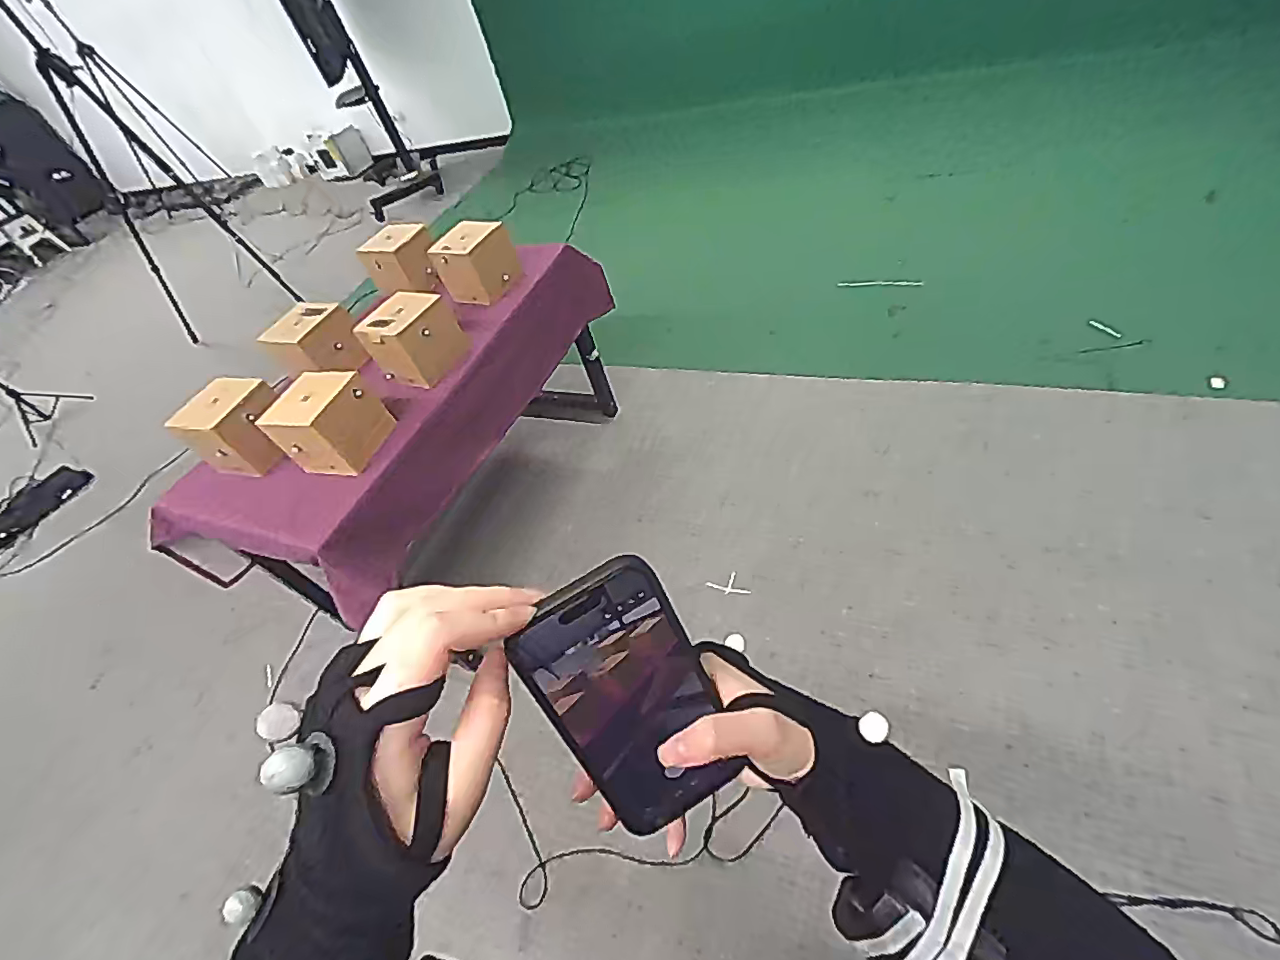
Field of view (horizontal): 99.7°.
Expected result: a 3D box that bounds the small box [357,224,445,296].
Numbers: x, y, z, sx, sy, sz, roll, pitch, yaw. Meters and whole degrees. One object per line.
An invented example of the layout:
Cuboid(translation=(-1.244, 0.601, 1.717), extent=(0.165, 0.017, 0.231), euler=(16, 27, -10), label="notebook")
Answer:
Cuboid(translation=(-0.764, -0.711, 1.758), extent=(0.179, 0.176, 0.168), euler=(12, 56, 25), label="small box")

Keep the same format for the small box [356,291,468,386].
Cuboid(translation=(-0.585, -0.368, 1.412), extent=(0.168, 0.176, 0.179), euler=(14, 55, 27), label="small box")

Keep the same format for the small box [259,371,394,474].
Cuboid(translation=(-0.709, -0.131, 1.248), extent=(0.168, 0.176, 0.179), euler=(4, 51, 20), label="small box")

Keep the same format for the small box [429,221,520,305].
Cuboid(translation=(-0.485, -0.654, 1.626), extent=(0.168, 0.176, 0.179), euler=(15, 56, 28), label="small box")
